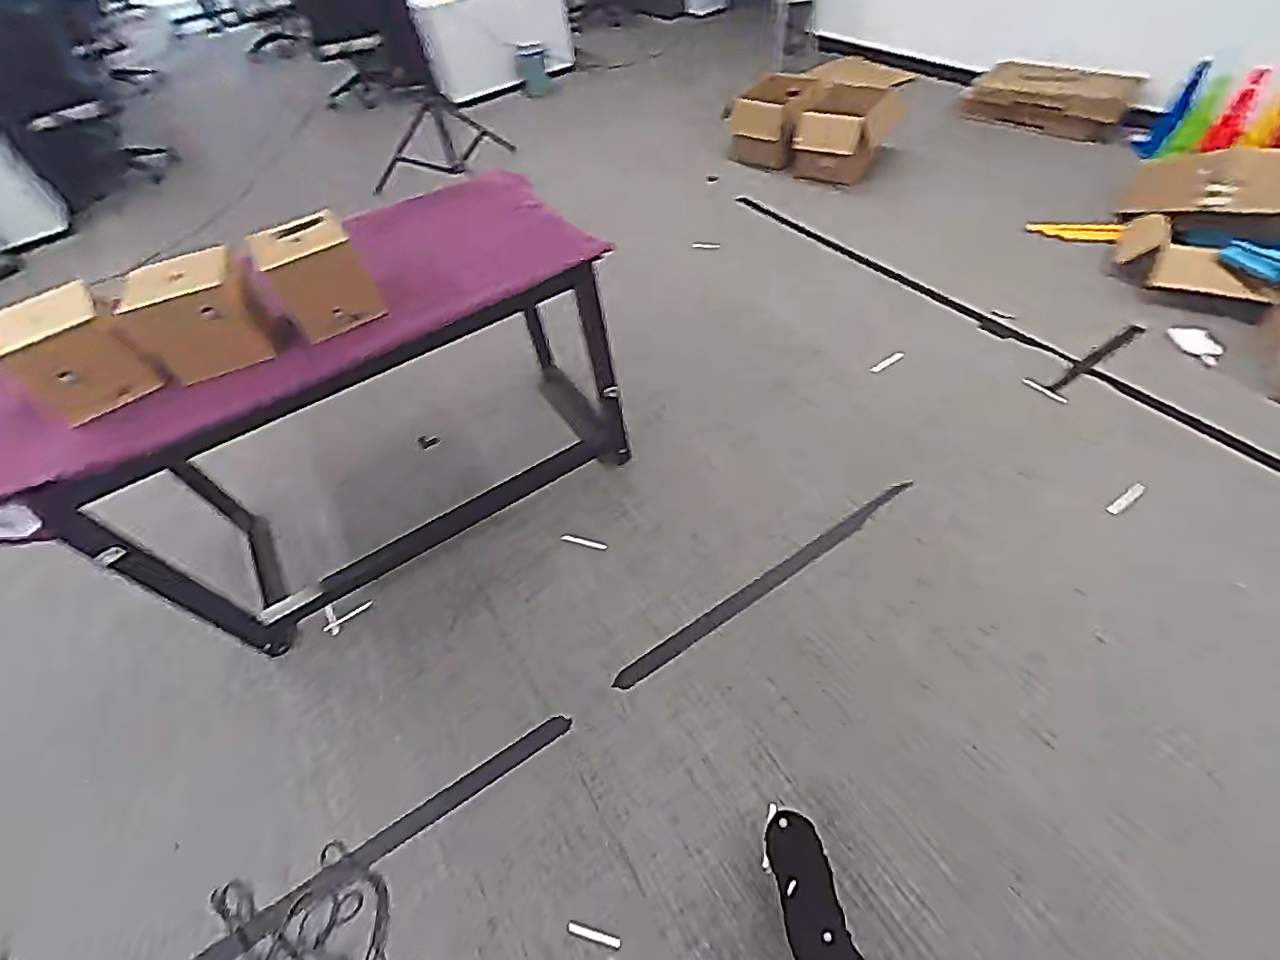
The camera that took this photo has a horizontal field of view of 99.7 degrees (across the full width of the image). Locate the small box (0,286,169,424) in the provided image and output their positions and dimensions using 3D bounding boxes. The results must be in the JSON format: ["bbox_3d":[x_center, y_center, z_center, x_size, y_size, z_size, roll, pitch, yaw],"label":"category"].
[{"bbox_3d":[-1.063,-0.234,1.040,0.168,0.176,0.179,-37,57,-20],"label":"small box"}]
